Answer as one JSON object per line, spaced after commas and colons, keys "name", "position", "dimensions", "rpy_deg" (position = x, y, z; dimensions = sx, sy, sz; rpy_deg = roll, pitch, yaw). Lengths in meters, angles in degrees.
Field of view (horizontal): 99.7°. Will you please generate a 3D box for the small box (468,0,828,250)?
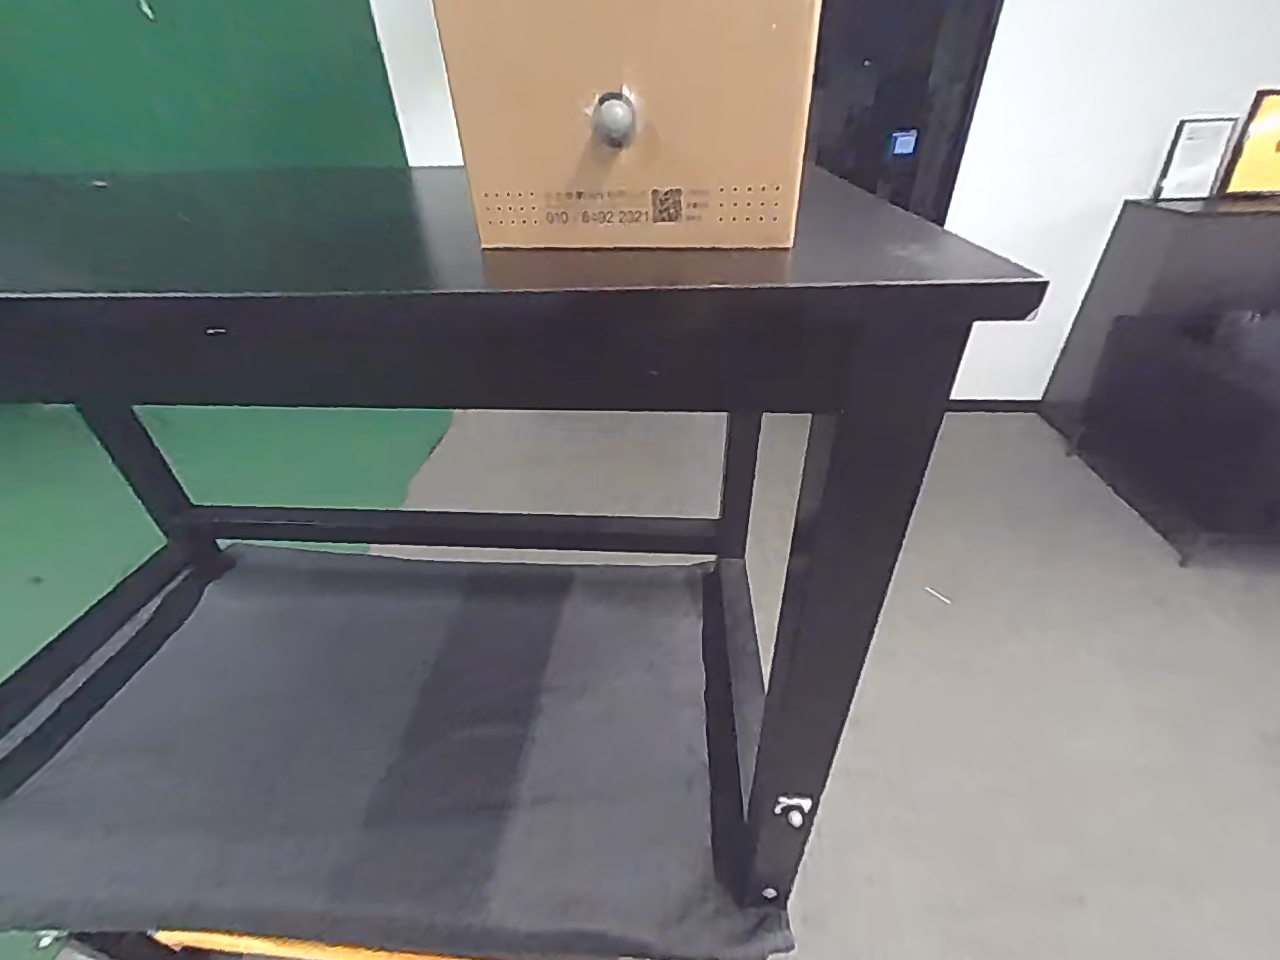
{"name": "small box", "position": [0.013, -0.237, 0.303], "dimensions": [0.168, 0.176, 0.179], "rpy_deg": [5, 35, 11]}
